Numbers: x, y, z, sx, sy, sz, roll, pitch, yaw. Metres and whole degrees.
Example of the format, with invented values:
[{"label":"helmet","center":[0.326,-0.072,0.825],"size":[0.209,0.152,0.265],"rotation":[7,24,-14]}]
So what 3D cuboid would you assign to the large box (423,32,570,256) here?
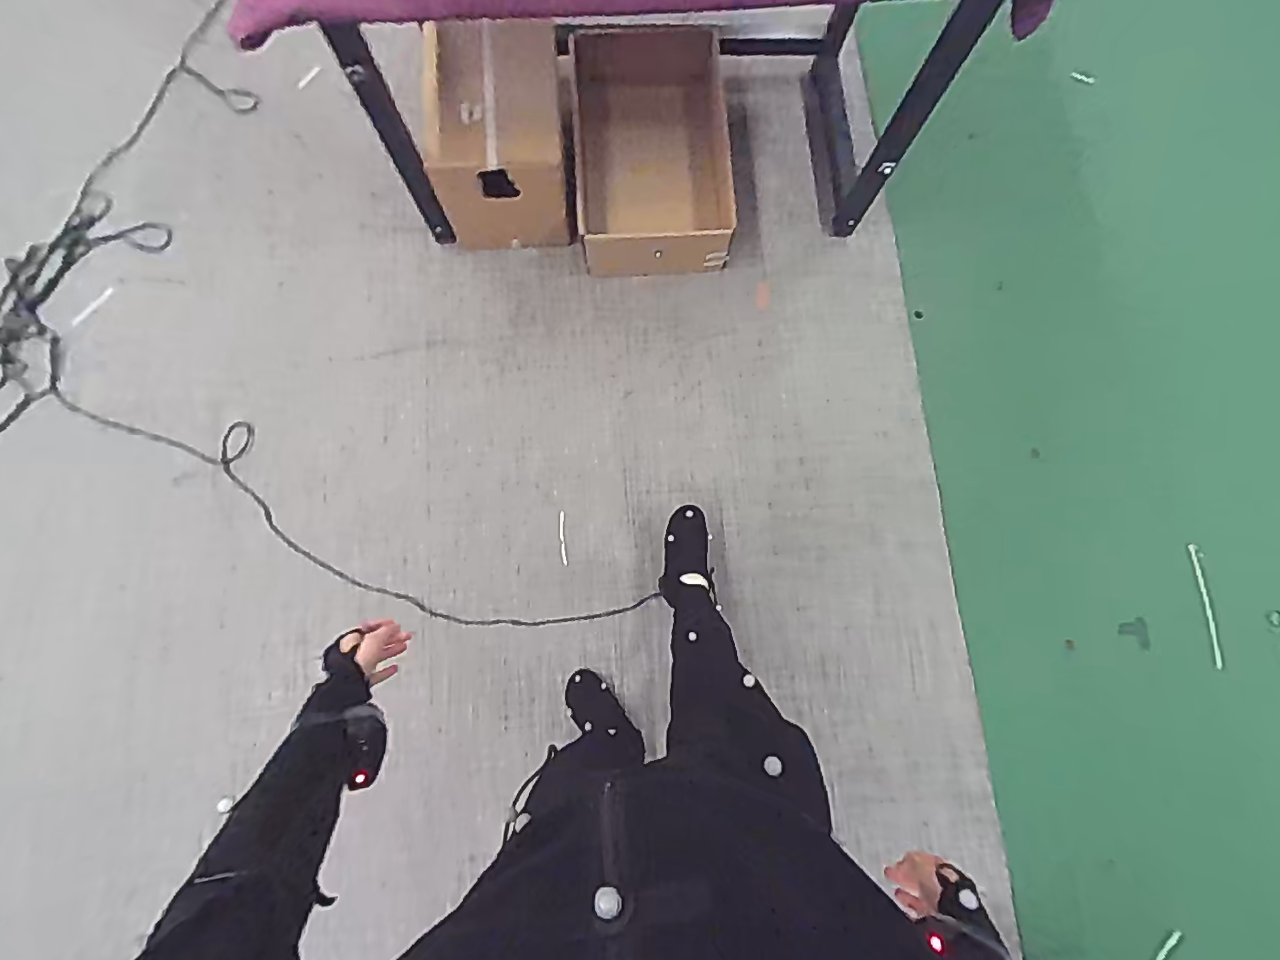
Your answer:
[{"label":"large box","center":[-0.358,-0.859,1.418],"size":[0.320,0.320,0.408],"rotation":[-4,80,-3]}]
